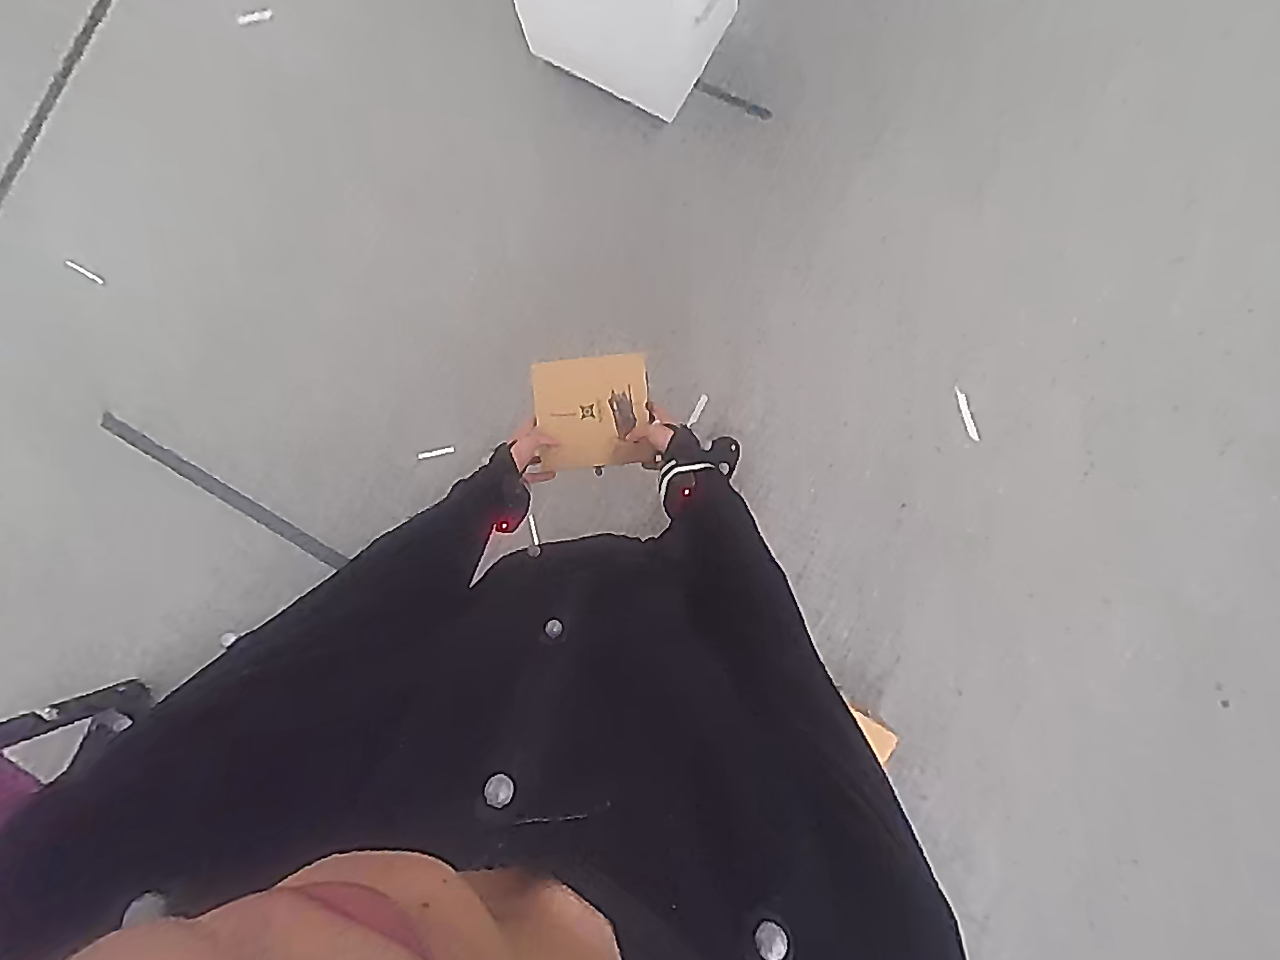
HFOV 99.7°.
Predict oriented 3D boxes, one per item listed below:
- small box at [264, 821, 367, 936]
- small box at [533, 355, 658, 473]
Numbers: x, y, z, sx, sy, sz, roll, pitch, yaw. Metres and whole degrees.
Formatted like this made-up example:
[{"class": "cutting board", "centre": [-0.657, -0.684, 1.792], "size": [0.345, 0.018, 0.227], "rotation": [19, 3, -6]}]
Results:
[{"class": "small box", "centre": [-0.943, 1.162, 1.589], "size": [0.168, 0.176, 0.179], "rotation": [26, 92, 4]}, {"class": "small box", "centre": [-0.065, -0.103, 0.889], "size": [0.179, 0.176, 0.168], "rotation": [-6, 92, 3]}]
